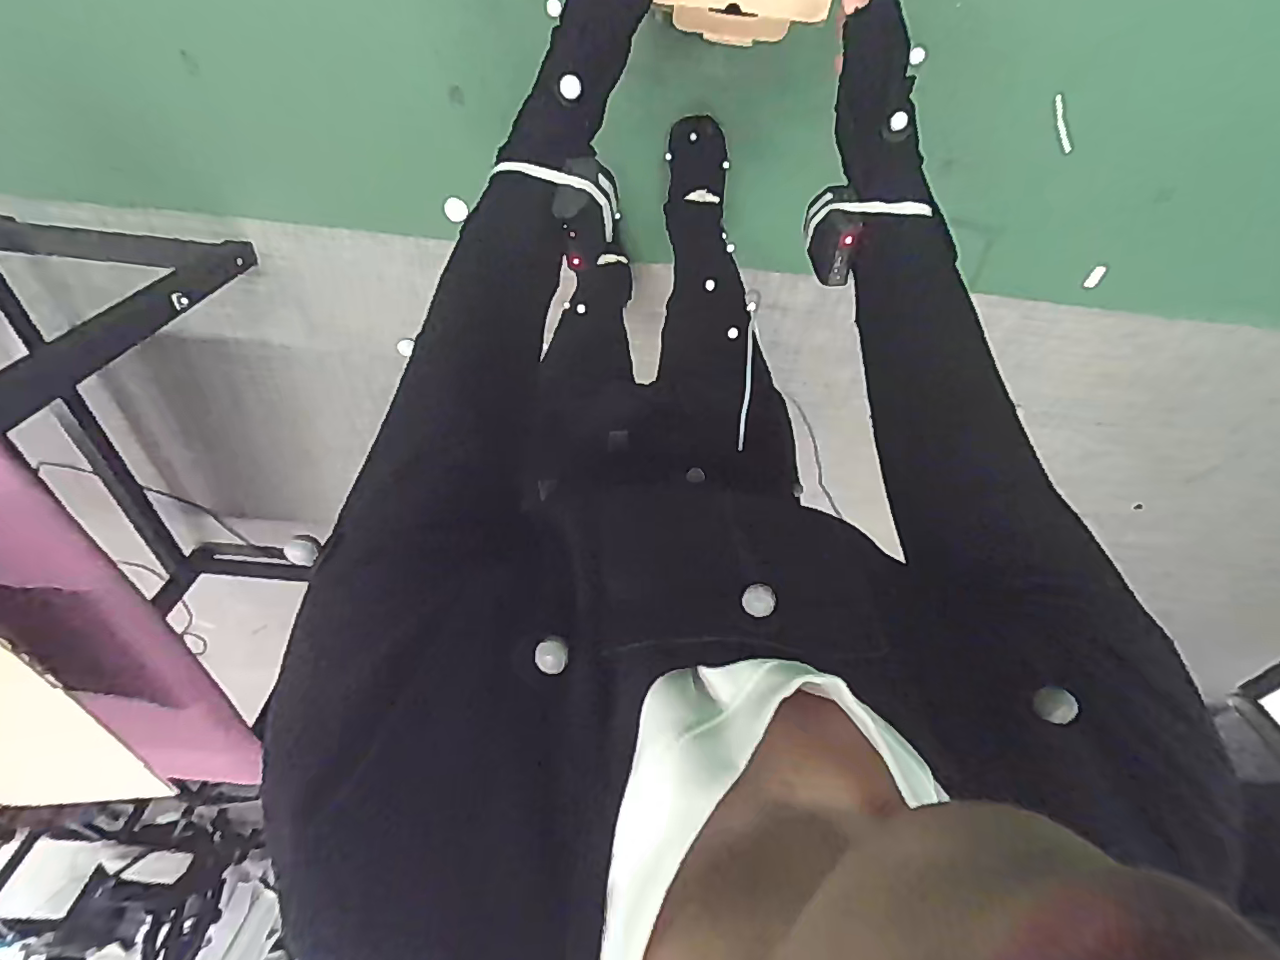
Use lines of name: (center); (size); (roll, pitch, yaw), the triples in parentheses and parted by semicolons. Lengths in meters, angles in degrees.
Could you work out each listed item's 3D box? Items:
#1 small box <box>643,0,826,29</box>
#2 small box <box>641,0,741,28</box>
small box: (0.086, -0.522, 0.477); (0.168, 0.176, 0.179); (5, 131, -3)
small box: (0.097, -0.841, 0.852); (0.168, 0.176, 0.179); (7, 130, -5)
